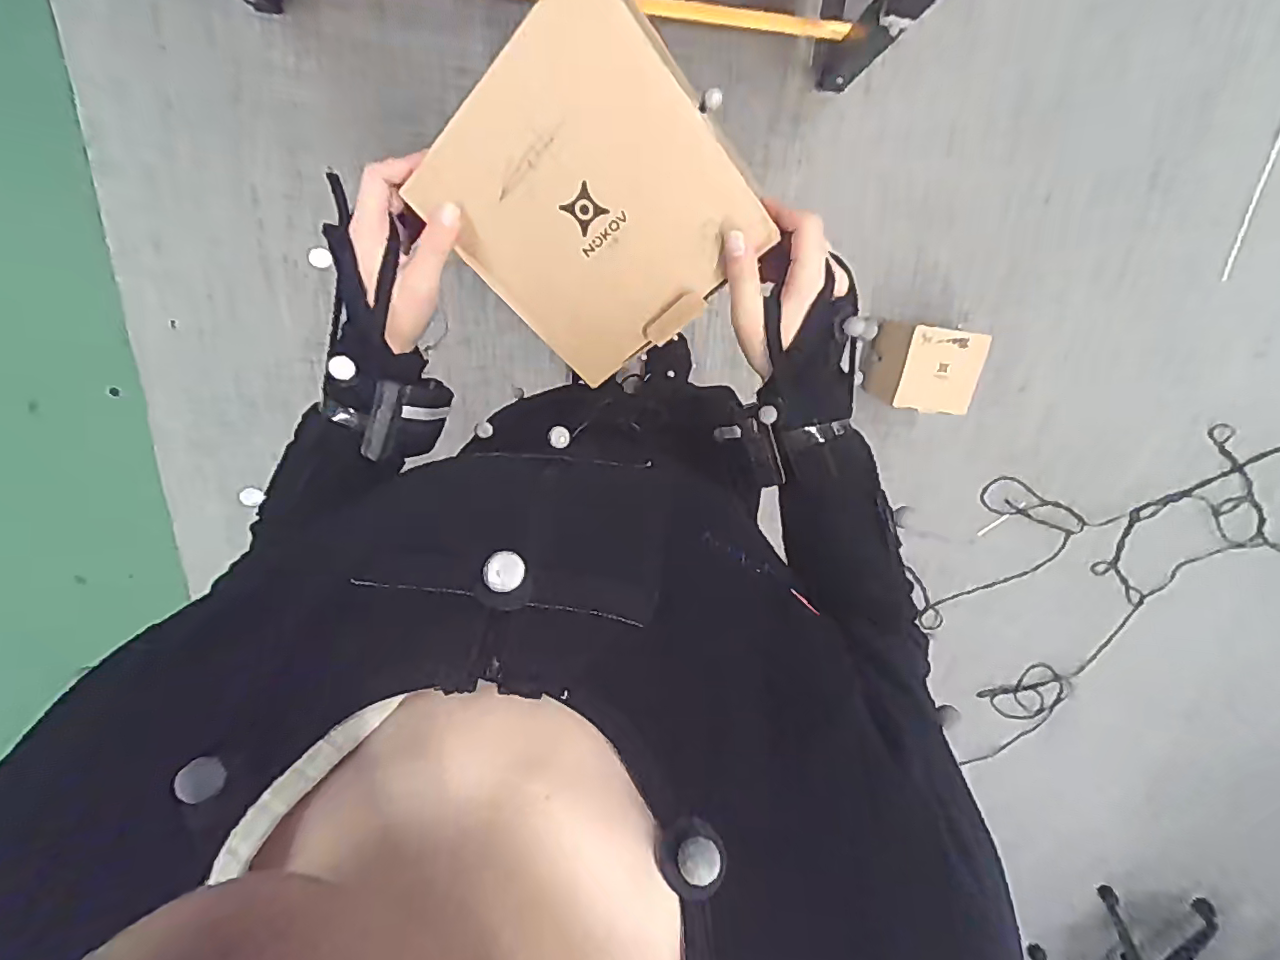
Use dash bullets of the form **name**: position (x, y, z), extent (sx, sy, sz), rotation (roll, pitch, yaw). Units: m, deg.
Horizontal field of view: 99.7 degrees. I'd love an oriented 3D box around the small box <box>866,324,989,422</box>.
- **small box**: position (0.632, -0.246, 1.218), extent (0.168, 0.176, 0.179), rotation (8, 111, -3)
